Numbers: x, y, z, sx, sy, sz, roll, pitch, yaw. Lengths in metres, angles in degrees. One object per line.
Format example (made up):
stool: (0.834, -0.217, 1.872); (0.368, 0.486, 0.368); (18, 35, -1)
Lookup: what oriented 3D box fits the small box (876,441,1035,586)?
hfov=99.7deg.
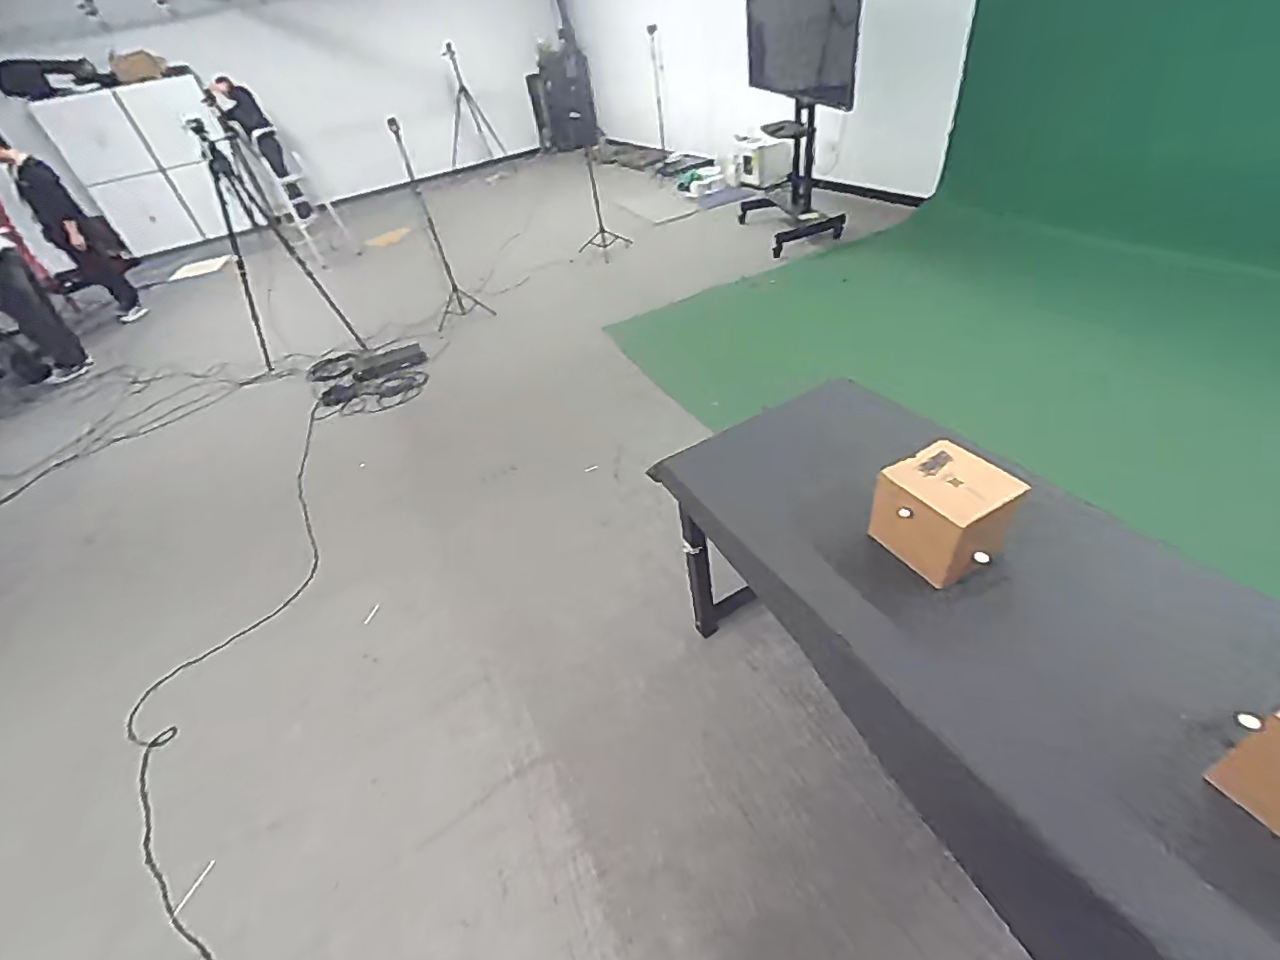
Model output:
small box: (0.566, 0.061, 0.998); (0.168, 0.176, 0.179); (-25, 43, -15)

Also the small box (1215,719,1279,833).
small box: (0.832, 0.342, 0.605); (0.168, 0.176, 0.179); (-23, 40, -15)
